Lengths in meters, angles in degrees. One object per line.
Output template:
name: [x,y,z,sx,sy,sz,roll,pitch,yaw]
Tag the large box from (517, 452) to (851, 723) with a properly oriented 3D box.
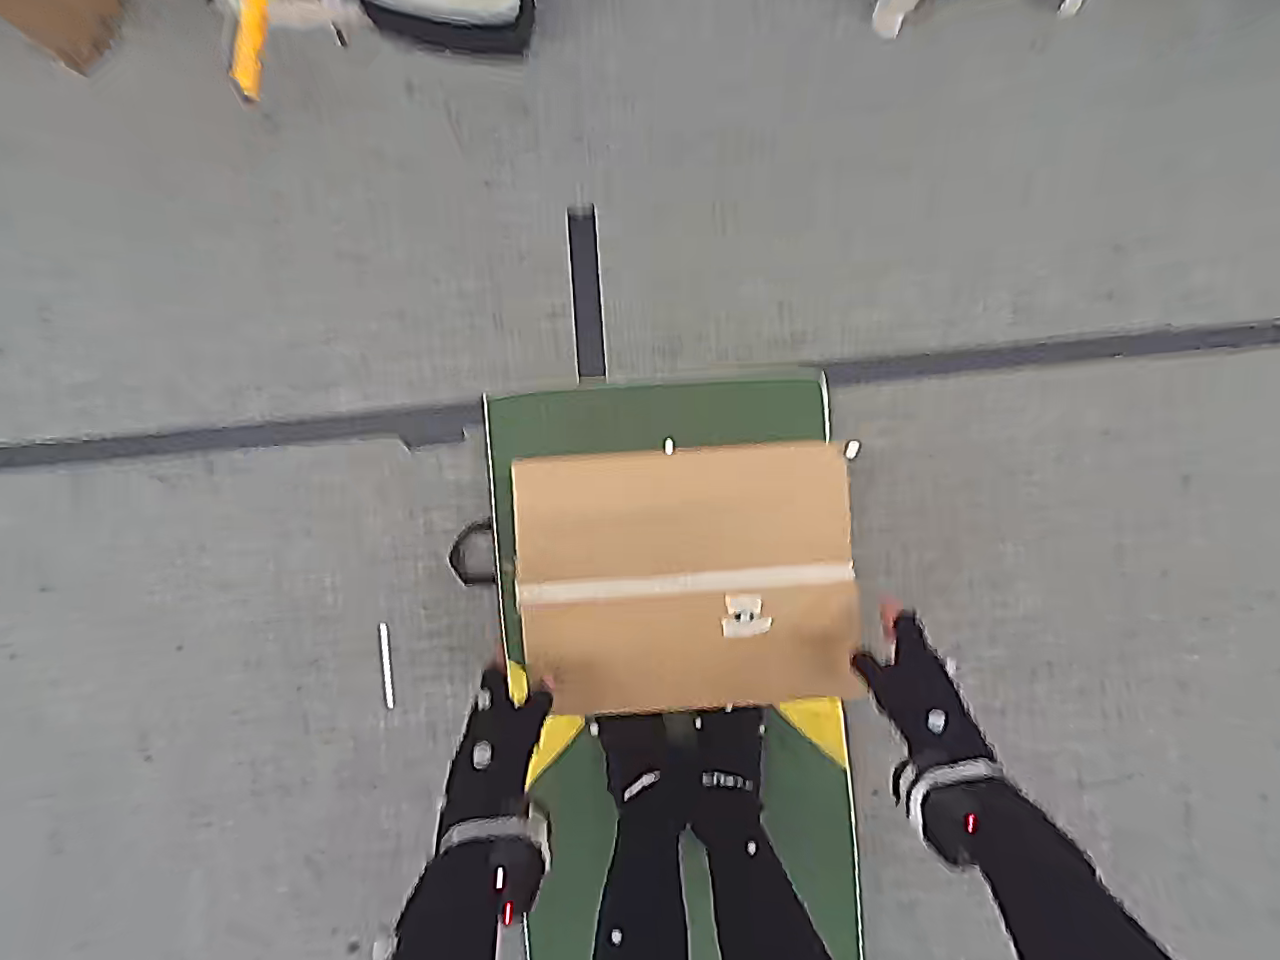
large box: [0.052,0.135,0.823,0.408,0.320,0.320,-4,90,-1]
